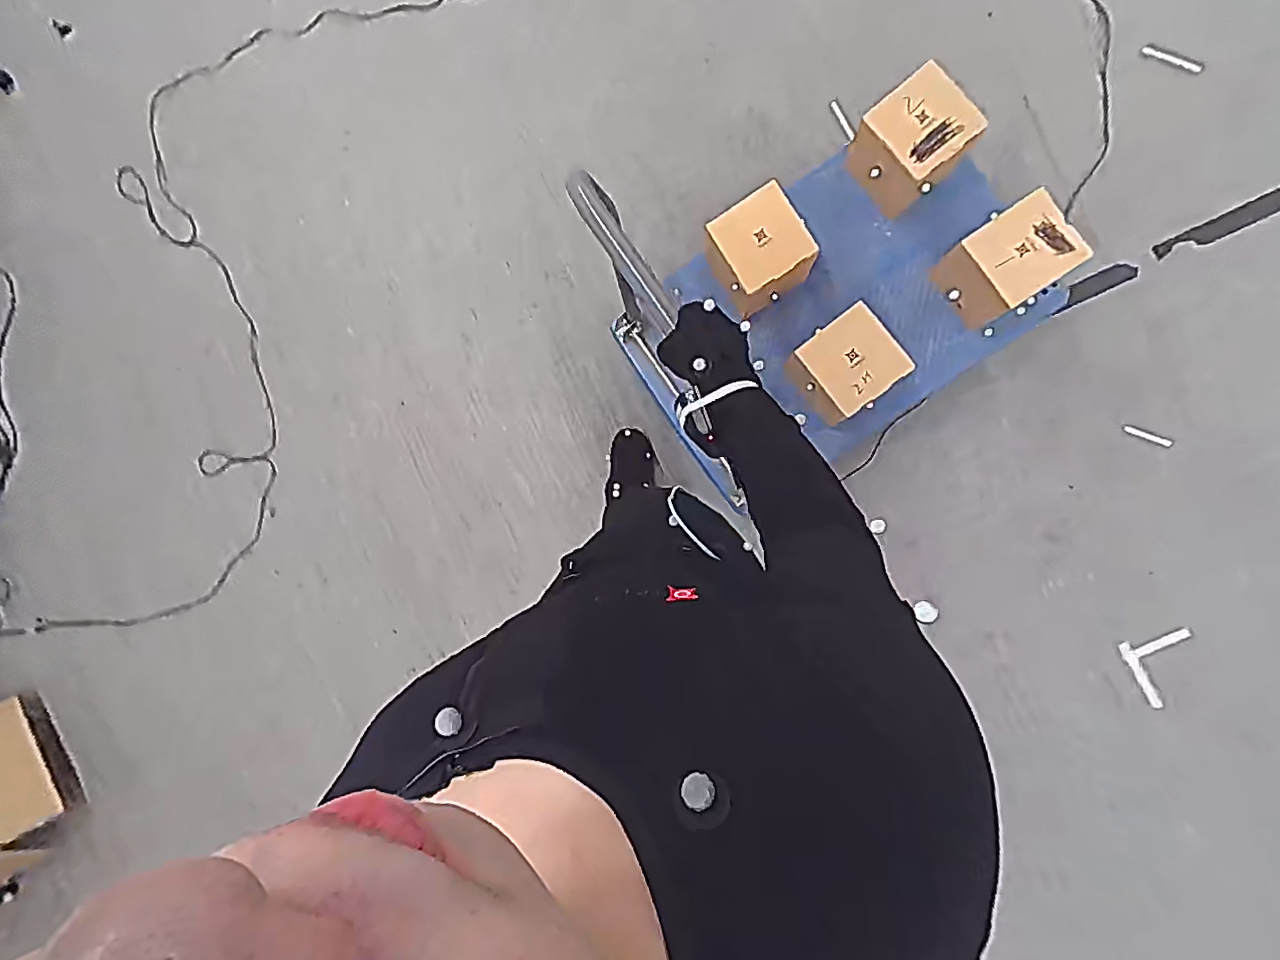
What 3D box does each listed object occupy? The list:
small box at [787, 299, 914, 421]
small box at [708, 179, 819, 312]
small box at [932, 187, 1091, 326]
[{"bbox_3d":[0.436,-0.245,1.155,0.168,0.176,0.179,-37,86,7],"label":"small box"},{"bbox_3d":[0.258,-0.498,1.178,0.168,0.176,0.179,-32,88,7],"label":"small box"},{"bbox_3d":[0.747,-0.446,1.110,0.179,0.176,0.168,-34,86,8],"label":"small box"}]
